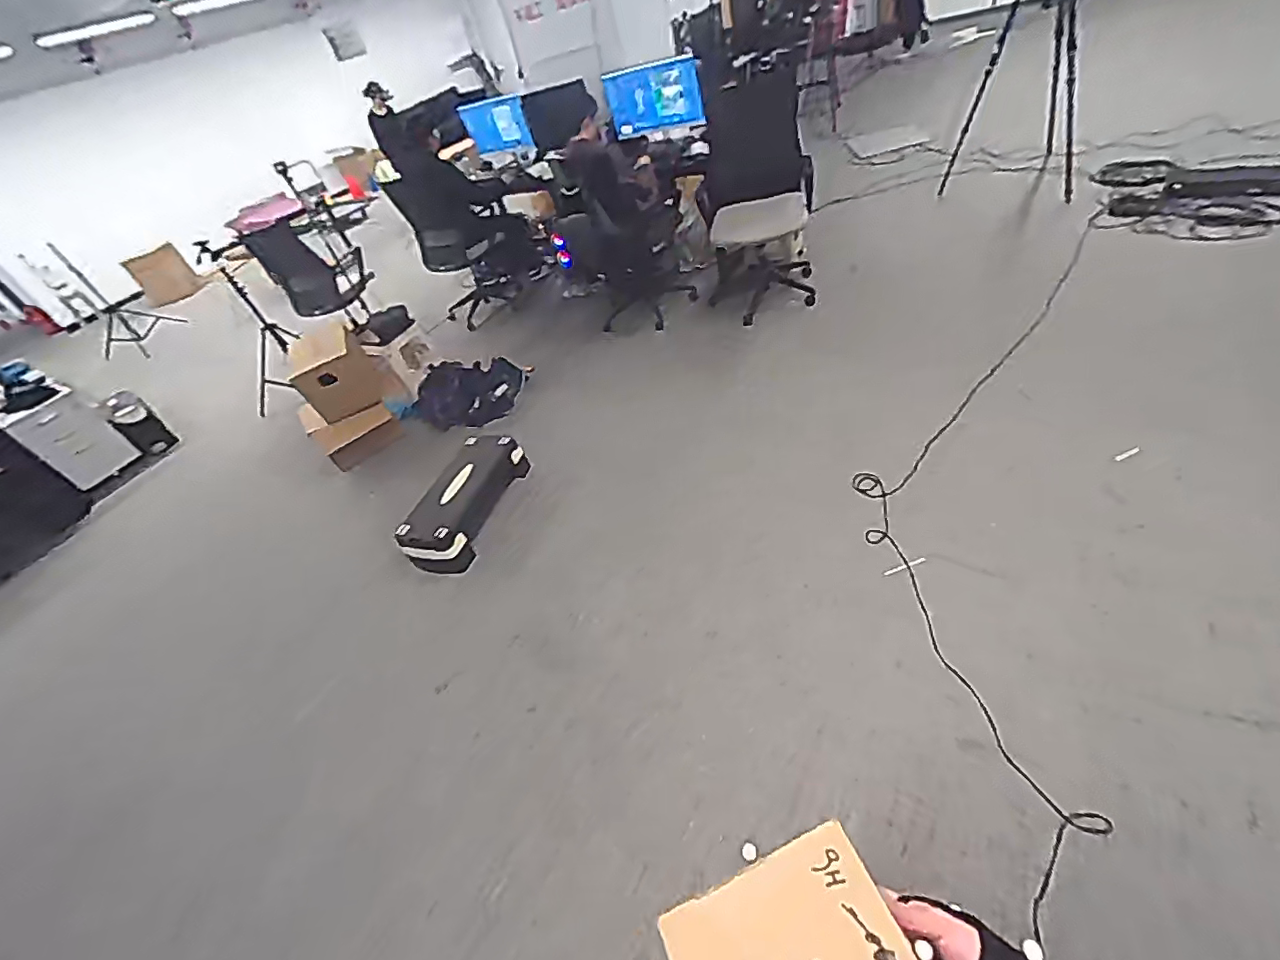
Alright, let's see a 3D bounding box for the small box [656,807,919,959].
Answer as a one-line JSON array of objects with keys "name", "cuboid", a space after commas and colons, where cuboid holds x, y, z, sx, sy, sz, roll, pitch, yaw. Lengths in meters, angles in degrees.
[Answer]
[{"name": "small box", "cuboid": [0.139, 0.415, 0.473, 0.179, 0.176, 0.168, -27, 55, -1]}]
